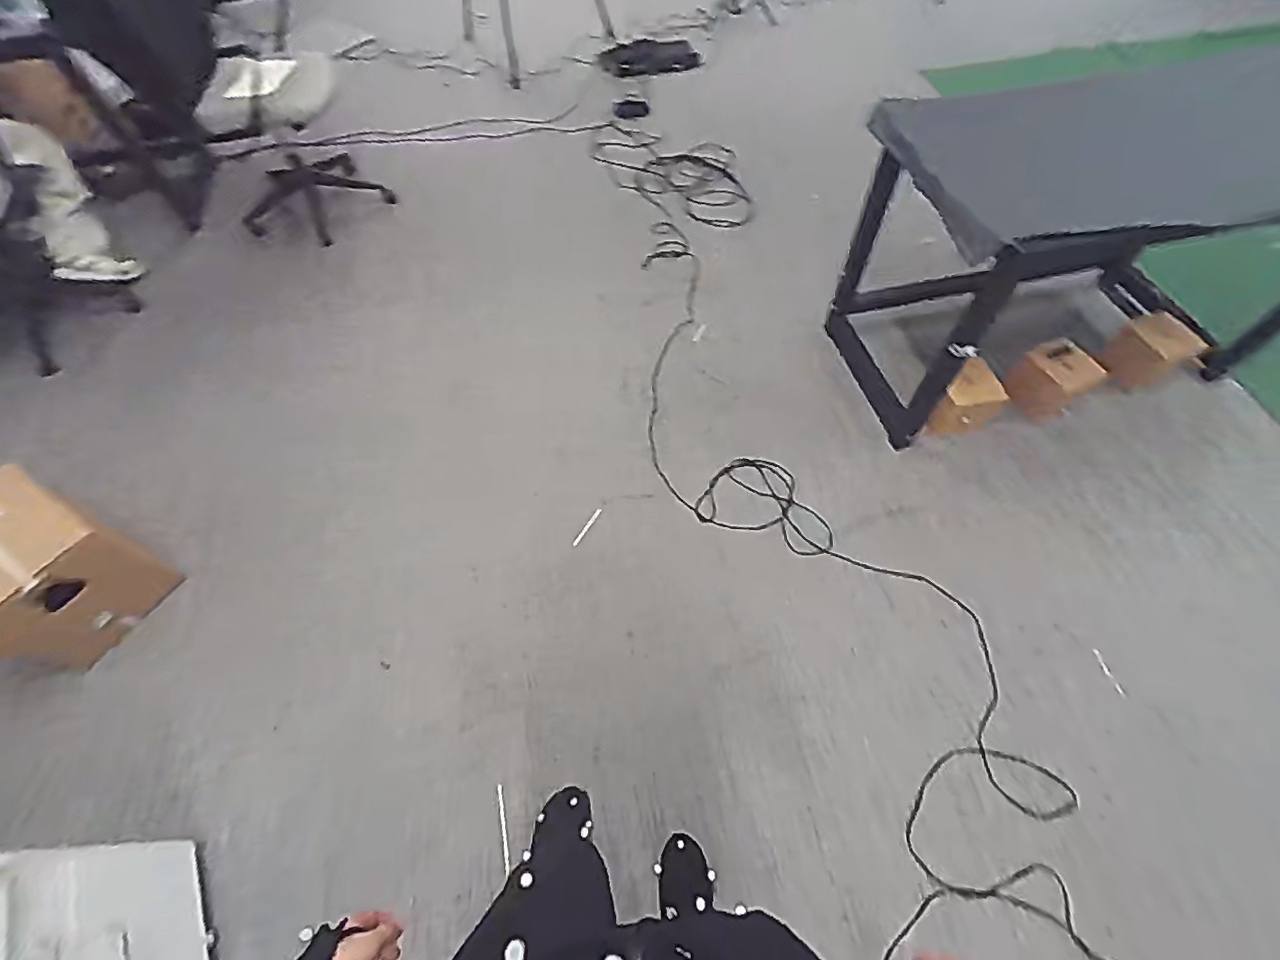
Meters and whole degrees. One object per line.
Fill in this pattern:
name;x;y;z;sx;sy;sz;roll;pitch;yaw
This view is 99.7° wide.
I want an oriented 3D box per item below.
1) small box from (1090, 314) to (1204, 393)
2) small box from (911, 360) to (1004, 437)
small box;1.658;-0.409;1.781;0.168;0.176;0.179;-16;59;-8
small box;1.000;-0.250;1.718;0.168;0.176;0.179;-9;58;-2
